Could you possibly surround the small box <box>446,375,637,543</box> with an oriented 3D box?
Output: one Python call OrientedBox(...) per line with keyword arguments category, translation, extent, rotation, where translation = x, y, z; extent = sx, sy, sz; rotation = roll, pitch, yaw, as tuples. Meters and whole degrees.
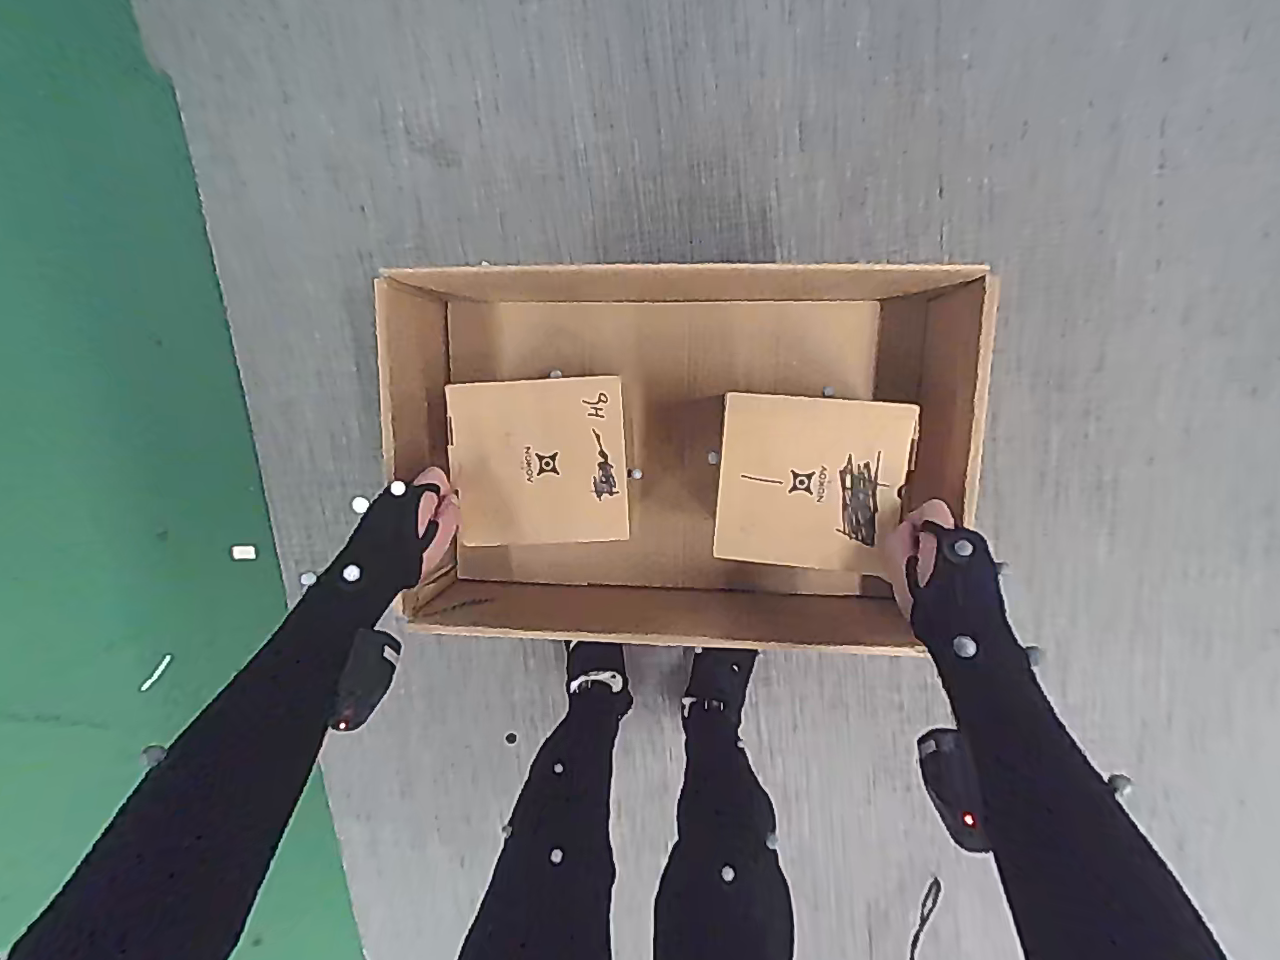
OrientedBox(category="small box", translation=(-0.096, -0.028, 0.606), extent=(0.179, 0.176, 0.168), rotation=(-2, 98, 2))
